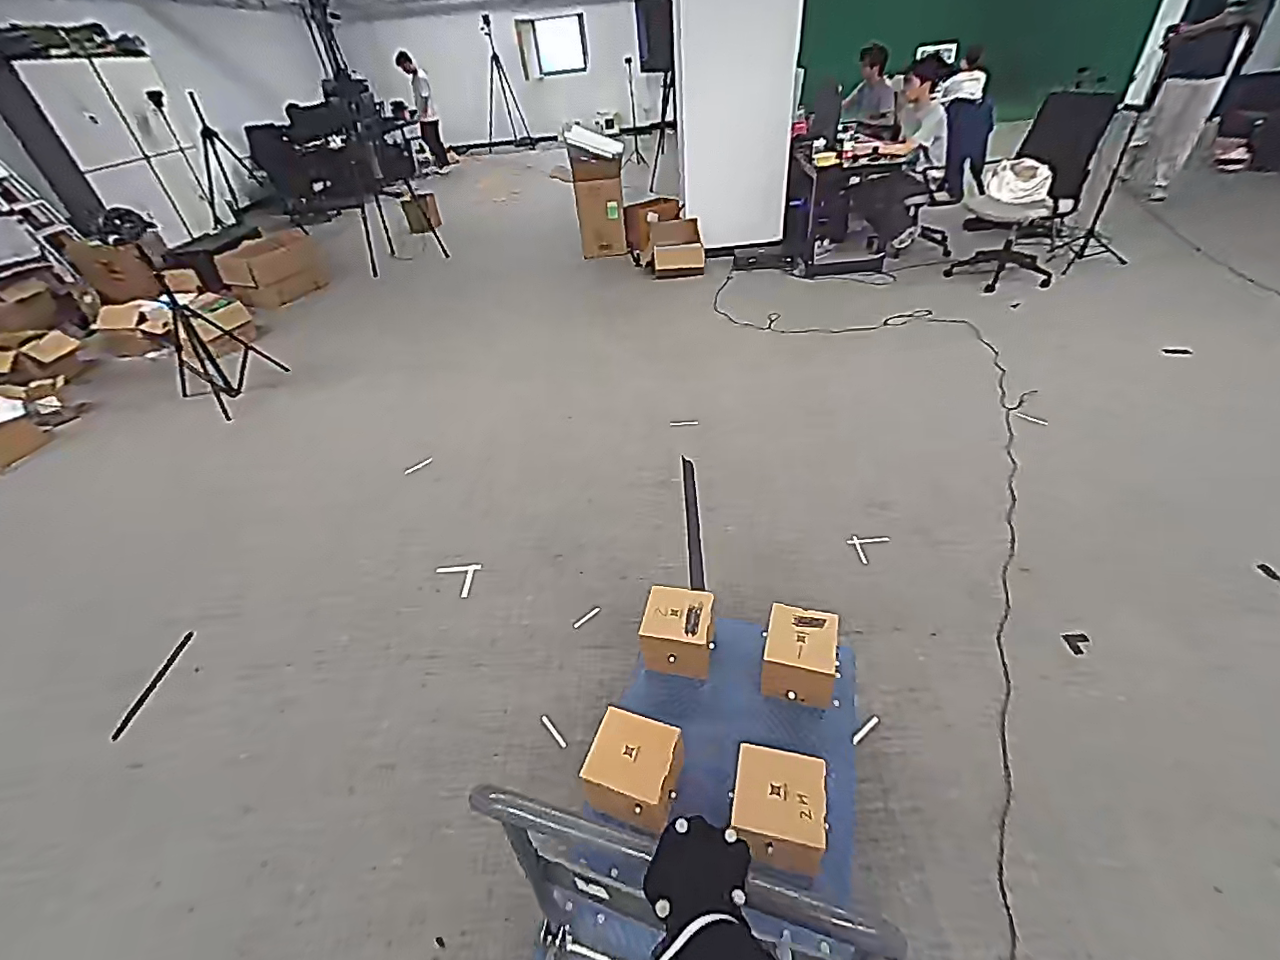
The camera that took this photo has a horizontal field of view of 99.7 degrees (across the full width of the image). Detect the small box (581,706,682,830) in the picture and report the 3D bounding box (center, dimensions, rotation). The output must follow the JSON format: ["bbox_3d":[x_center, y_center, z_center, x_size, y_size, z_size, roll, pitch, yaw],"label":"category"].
[{"bbox_3d":[-0.011,0.643,1.208,0.179,0.176,0.168,11,41,18],"label":"small box"}]

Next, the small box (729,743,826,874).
[{"bbox_3d":[0.283,0.680,1.118,0.179,0.176,0.168,6,41,16],"label":"small box"}]

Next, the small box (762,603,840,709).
[{"bbox_3d":[0.410,0.451,1.385,0.168,0.176,0.179,8,42,18],"label":"small box"}]
